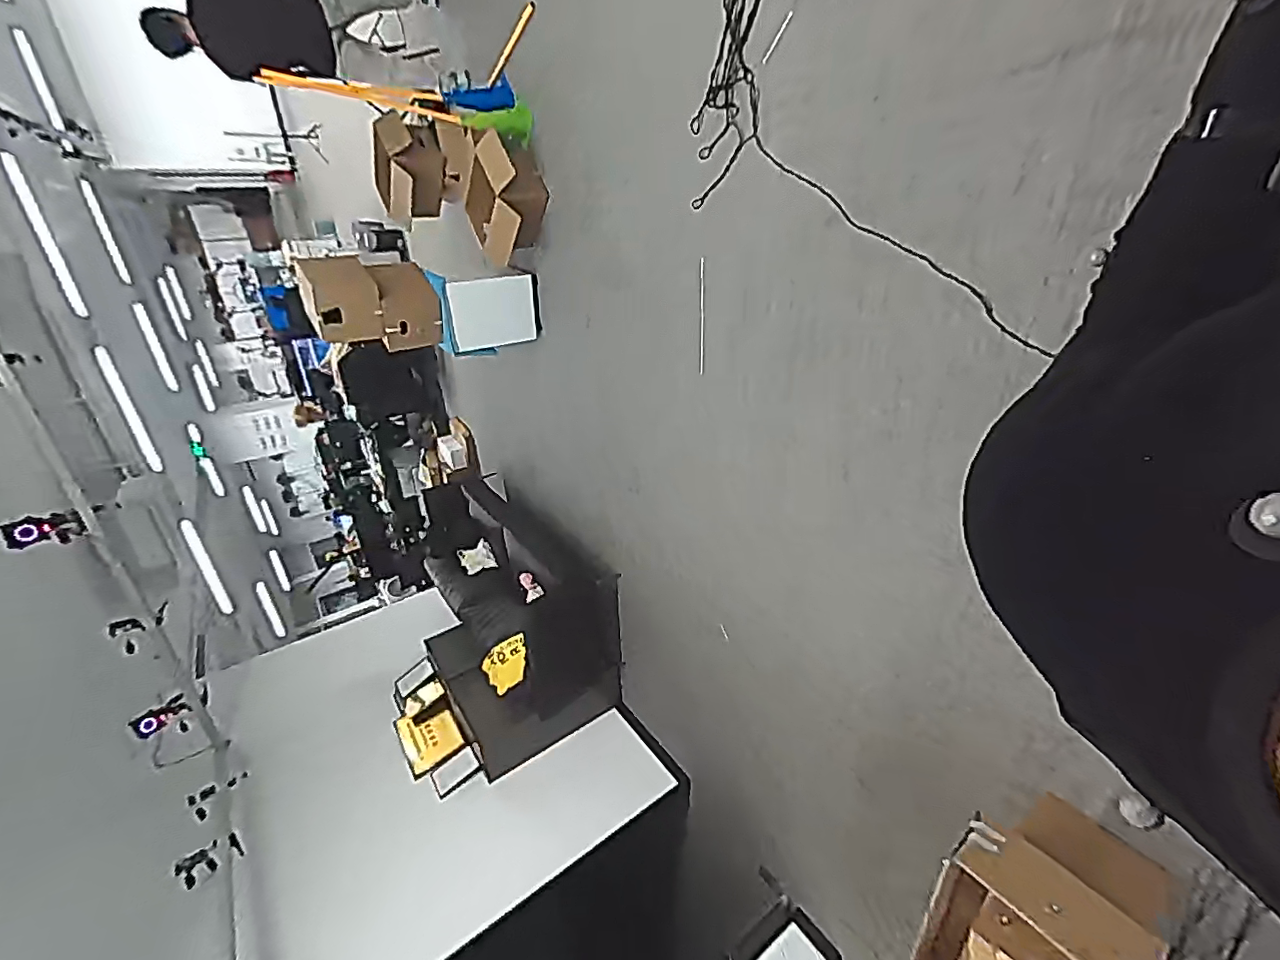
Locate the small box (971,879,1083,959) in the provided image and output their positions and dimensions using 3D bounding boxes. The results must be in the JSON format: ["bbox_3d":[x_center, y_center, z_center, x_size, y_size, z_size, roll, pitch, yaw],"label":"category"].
[{"bbox_3d":[0.902,1.097,1.262,0.168,0.176,0.179,13,118,56],"label":"small box"}]
